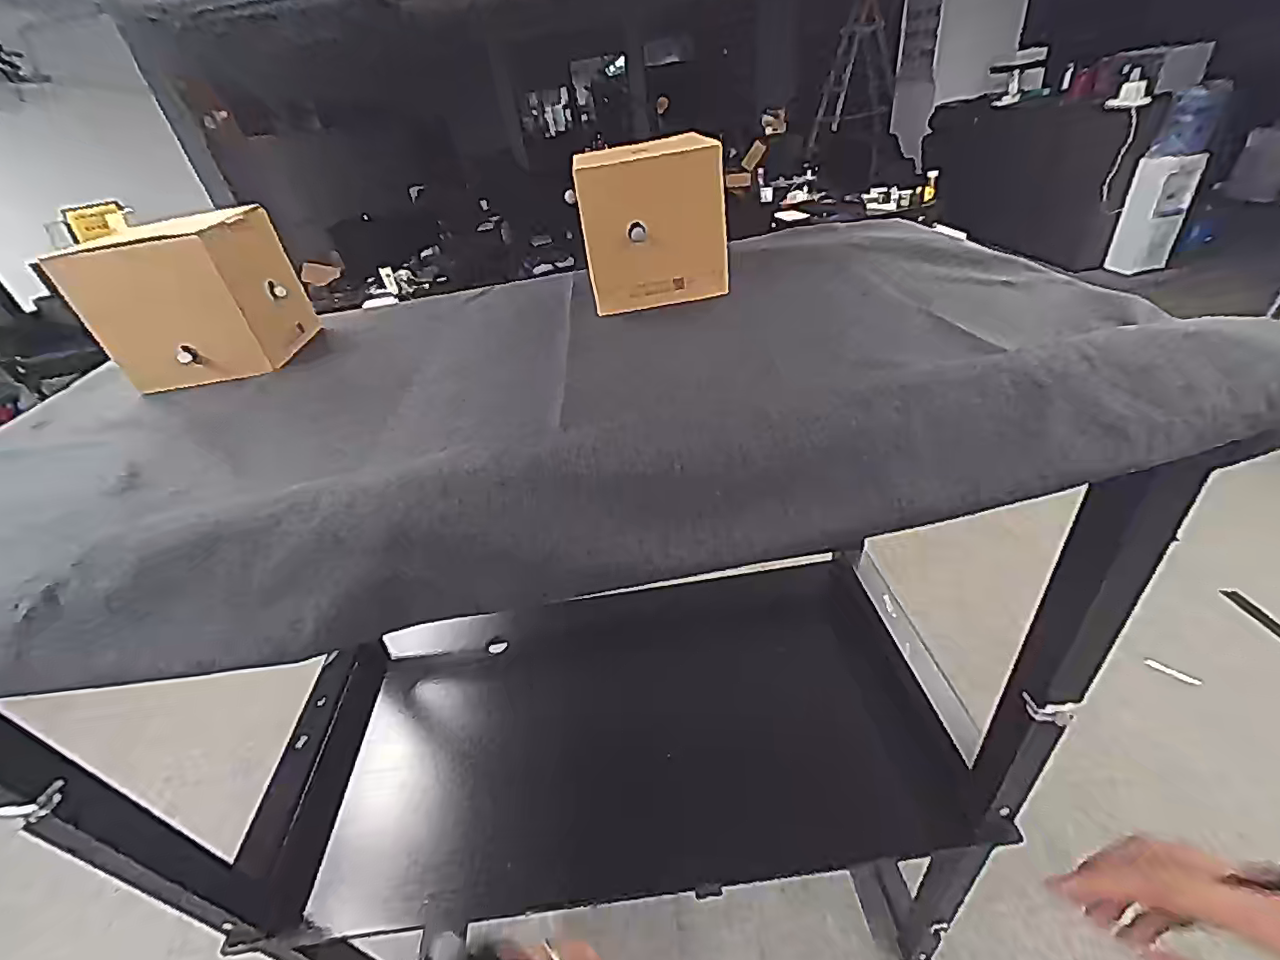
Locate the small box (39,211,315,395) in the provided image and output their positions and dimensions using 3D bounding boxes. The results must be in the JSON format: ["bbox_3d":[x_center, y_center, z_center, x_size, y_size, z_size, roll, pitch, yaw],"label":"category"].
[{"bbox_3d":[-0.558,-0.227,0.690,0.179,0.176,0.168,-10,36,-2],"label":"small box"}]

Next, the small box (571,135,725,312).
[{"bbox_3d":[0.010,-0.326,0.697,0.168,0.176,0.179,-10,35,0],"label":"small box"}]
